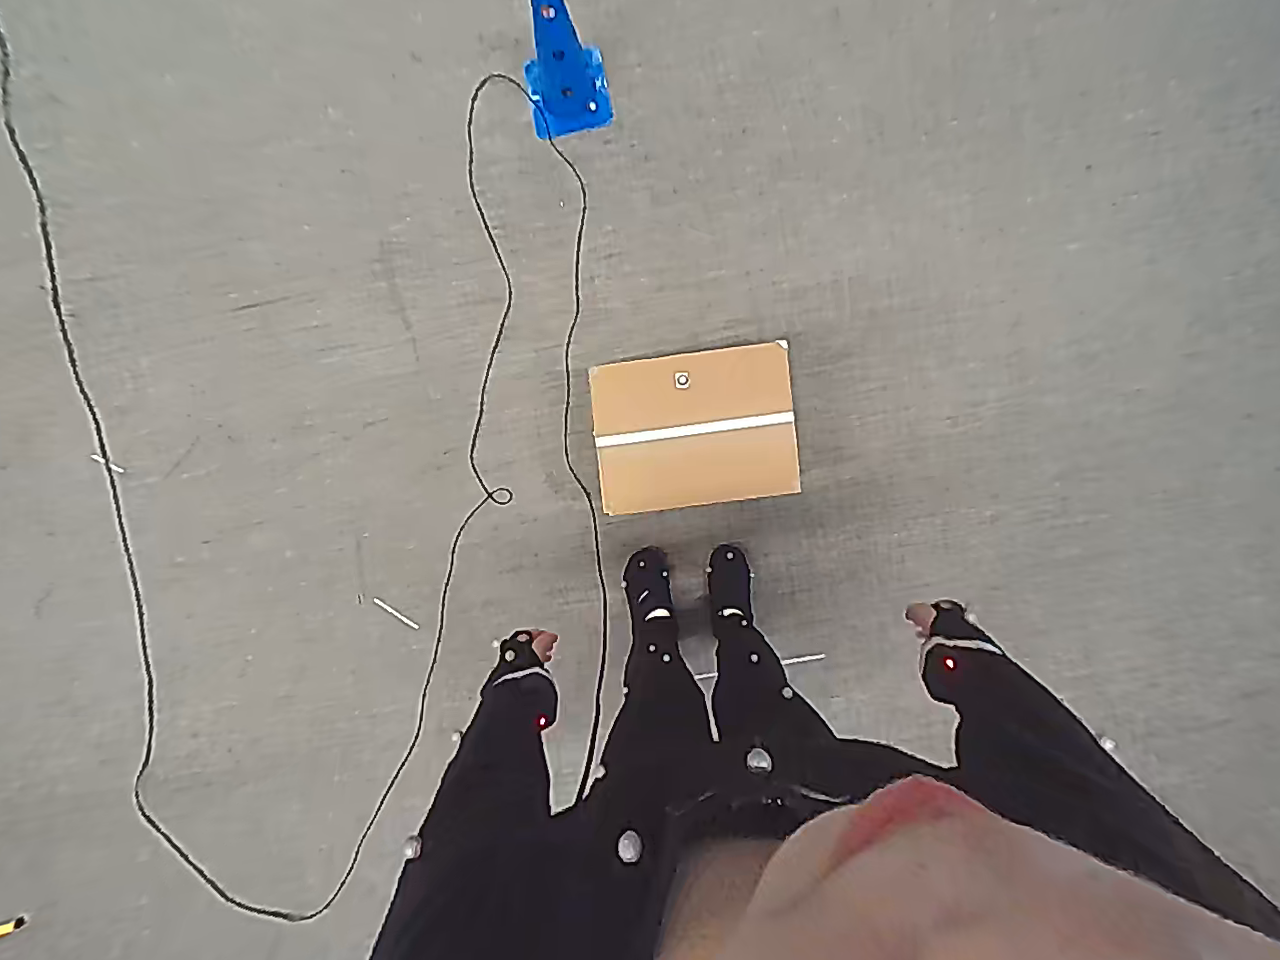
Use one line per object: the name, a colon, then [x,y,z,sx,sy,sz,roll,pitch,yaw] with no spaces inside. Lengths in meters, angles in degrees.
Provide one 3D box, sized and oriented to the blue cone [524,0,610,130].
blue cone: [-0.183,-0.974,1.176,0.193,0.380,0.192,-13,92,1]
